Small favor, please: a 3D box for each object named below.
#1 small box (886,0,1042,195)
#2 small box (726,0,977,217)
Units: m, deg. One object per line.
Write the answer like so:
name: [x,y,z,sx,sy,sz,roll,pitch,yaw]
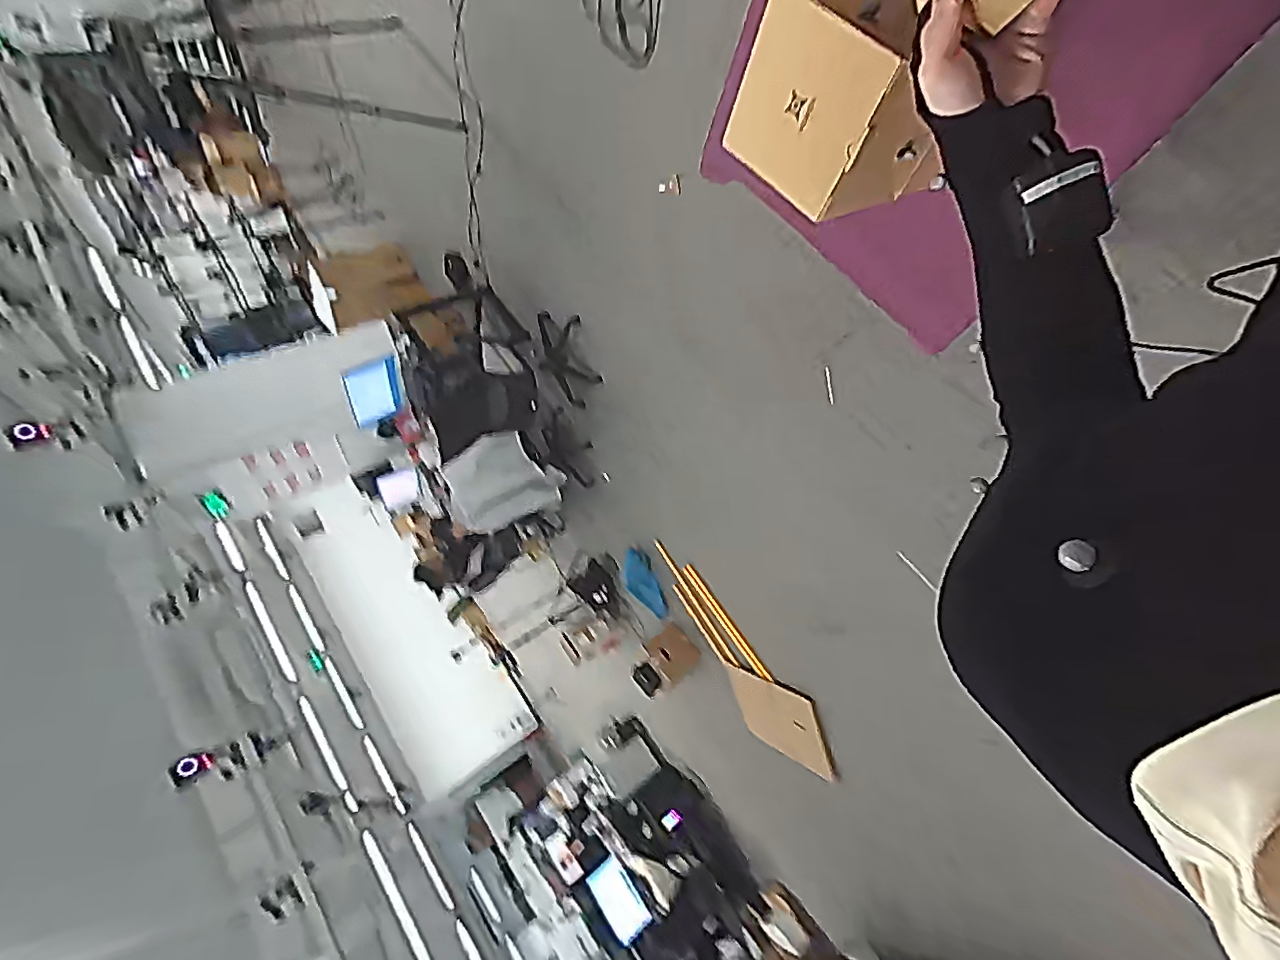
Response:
small box: [0.367,-0.512,0.712,0.179,0.176,0.168,51,150,18]
small box: [0.239,-0.445,0.636,0.179,0.176,0.168,50,149,19]
